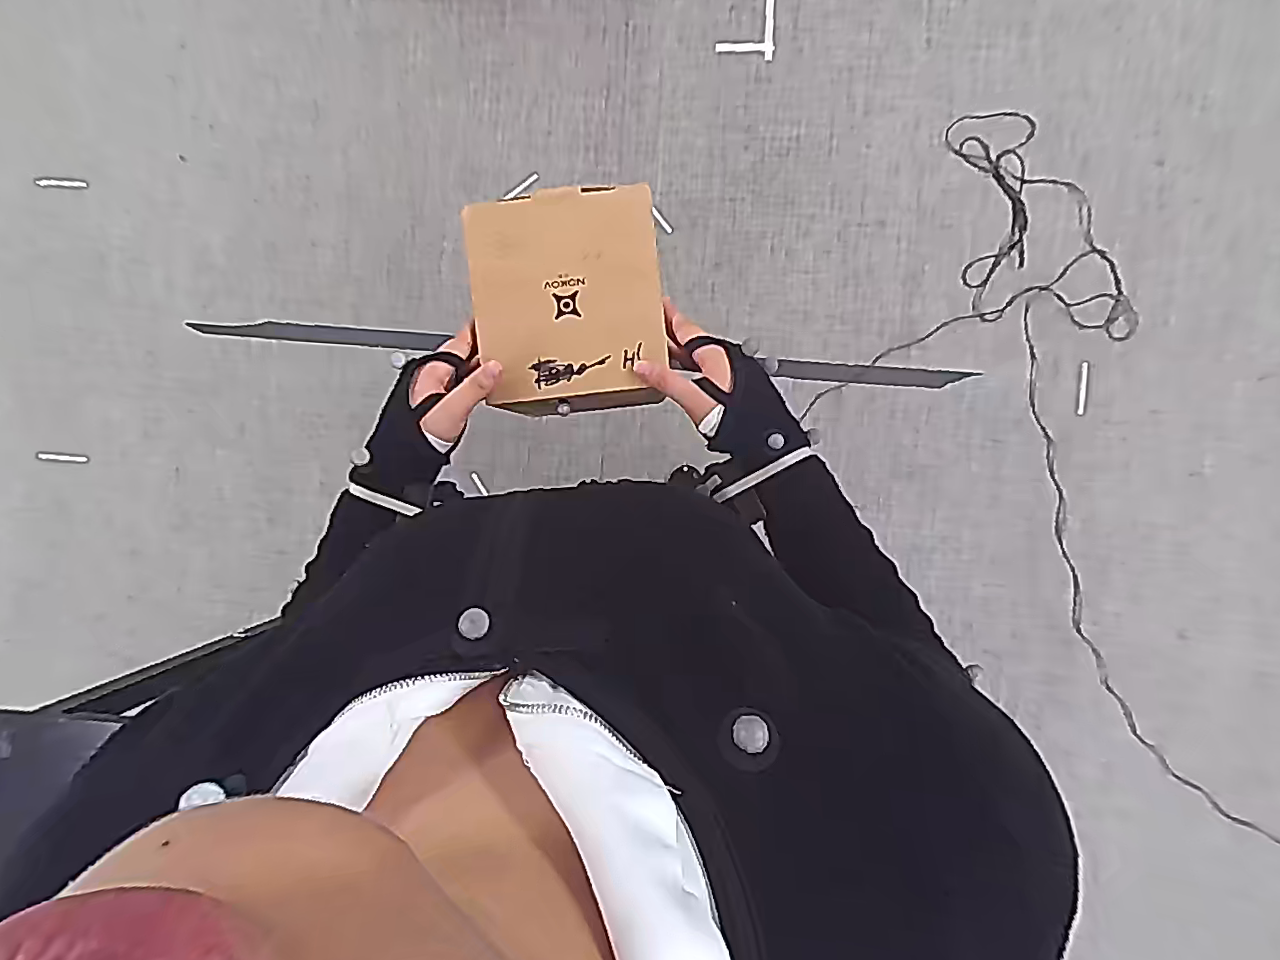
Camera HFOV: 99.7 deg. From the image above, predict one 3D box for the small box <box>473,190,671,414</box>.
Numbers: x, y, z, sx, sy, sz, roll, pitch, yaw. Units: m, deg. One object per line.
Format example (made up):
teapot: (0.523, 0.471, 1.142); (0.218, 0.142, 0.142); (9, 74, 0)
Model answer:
small box: (-0.060, -0.167, 0.560); (0.168, 0.176, 0.179); (-5, 94, 1)

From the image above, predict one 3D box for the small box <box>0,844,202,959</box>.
small box: (-0.754, 0.641, 0.745); (0.179, 0.176, 0.168); (6, 91, 3)
